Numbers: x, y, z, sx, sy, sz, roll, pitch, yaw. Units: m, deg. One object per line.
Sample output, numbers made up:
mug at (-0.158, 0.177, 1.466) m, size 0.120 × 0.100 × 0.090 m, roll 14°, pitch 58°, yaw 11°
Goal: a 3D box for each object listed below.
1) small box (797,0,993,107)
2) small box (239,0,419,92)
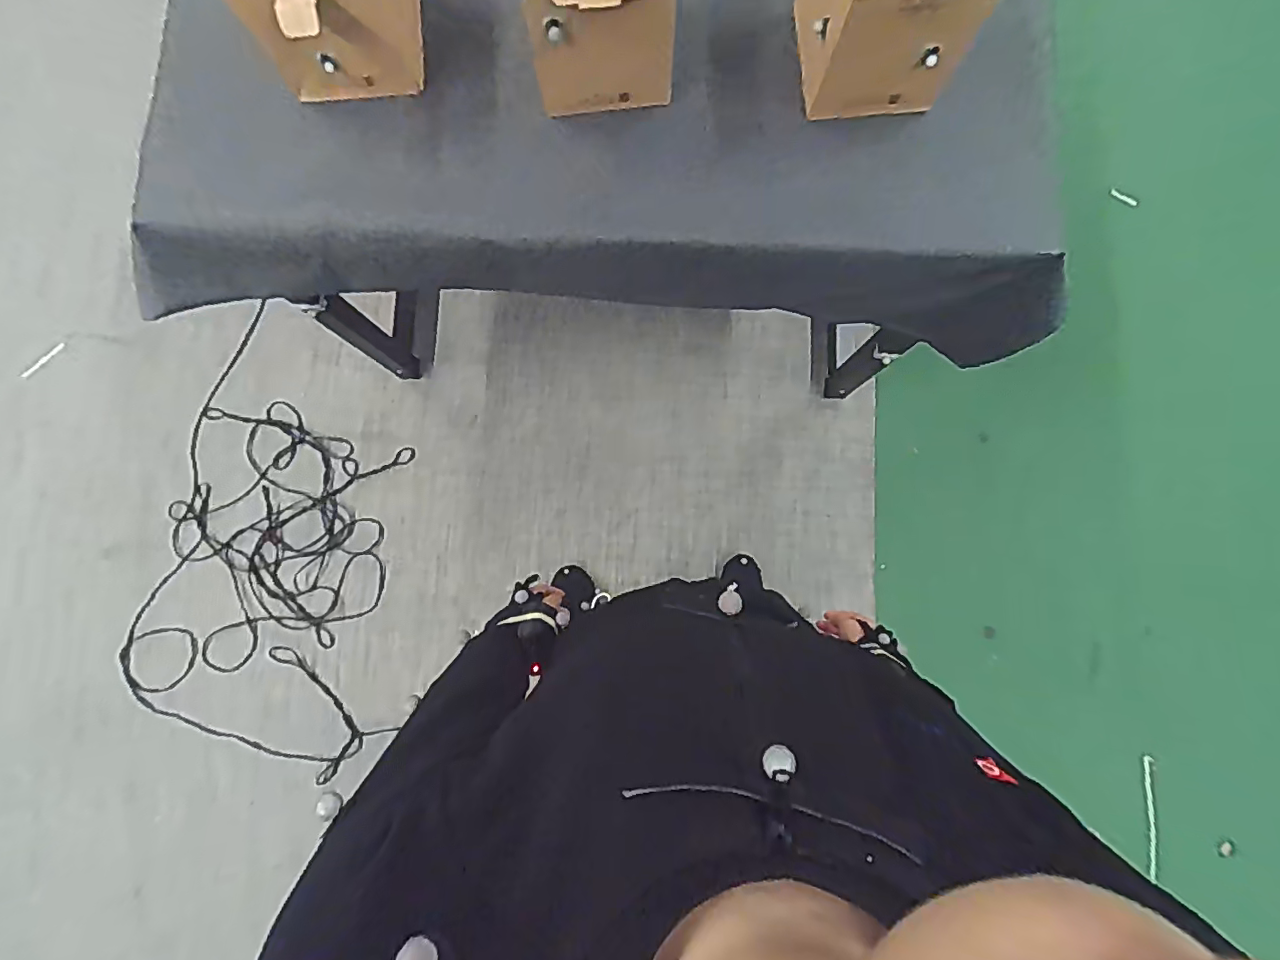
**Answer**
small box at (0.296, -0.577, 0.640) m, size 0.168 × 0.176 × 0.179 m, roll -4°, pitch 82°, yaw -1°
small box at (-0.376, -0.610, 0.644) m, size 0.168 × 0.176 × 0.179 m, roll -5°, pitch 83°, yaw -1°
